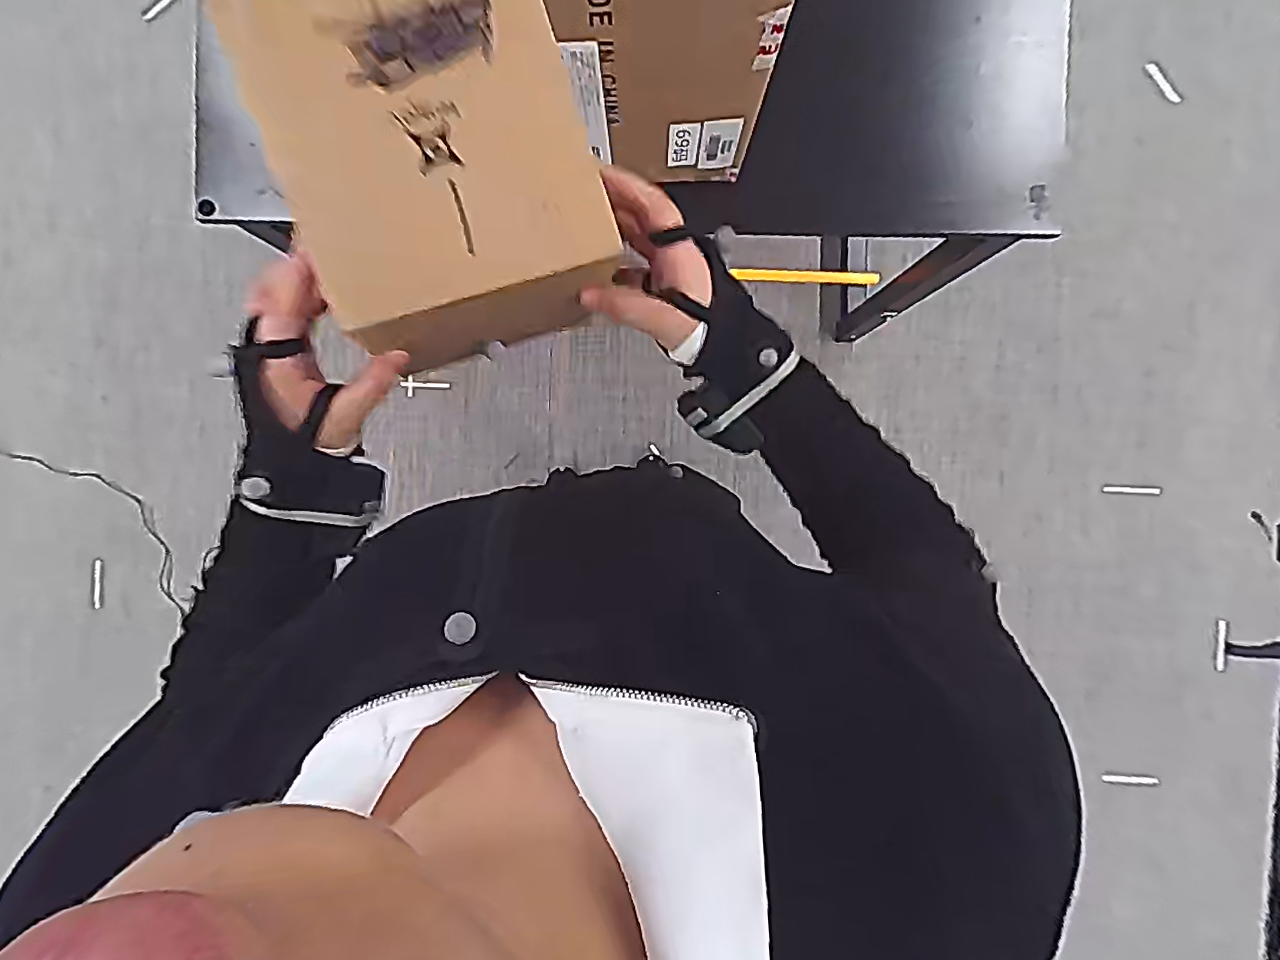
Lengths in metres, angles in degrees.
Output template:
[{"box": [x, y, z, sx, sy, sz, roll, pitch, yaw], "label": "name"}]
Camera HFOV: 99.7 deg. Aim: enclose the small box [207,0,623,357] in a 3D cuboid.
[{"box": [-0.130, -0.198, 0.359, 0.168, 0.176, 0.179, -21, 99, -11], "label": "small box"}]
